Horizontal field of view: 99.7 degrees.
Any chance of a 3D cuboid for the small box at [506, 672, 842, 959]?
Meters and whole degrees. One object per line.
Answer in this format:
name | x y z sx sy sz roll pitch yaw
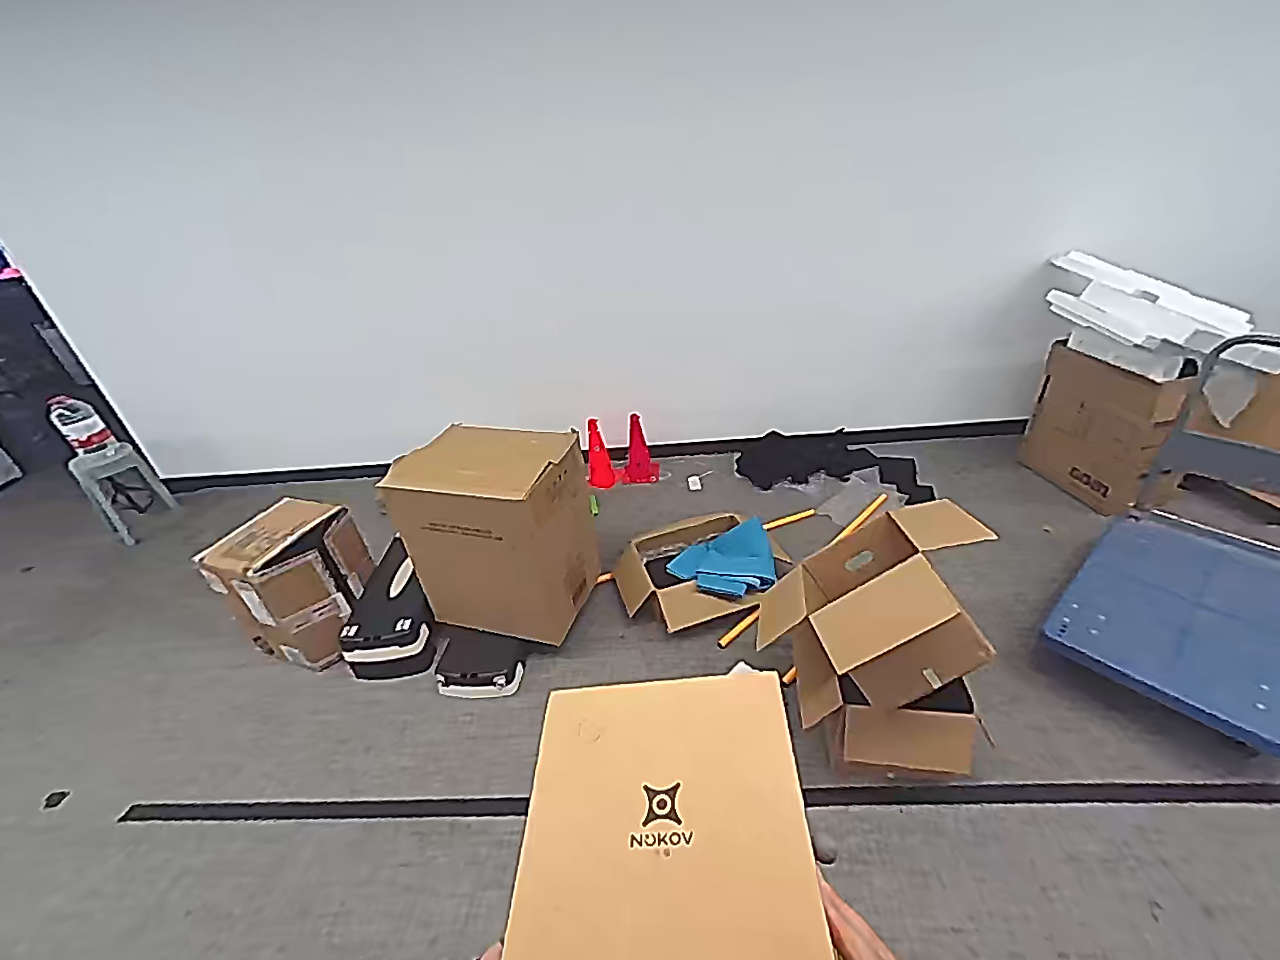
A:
small box | 0.029 0.257 0.359 0.168 0.176 0.179 -8 35 7
